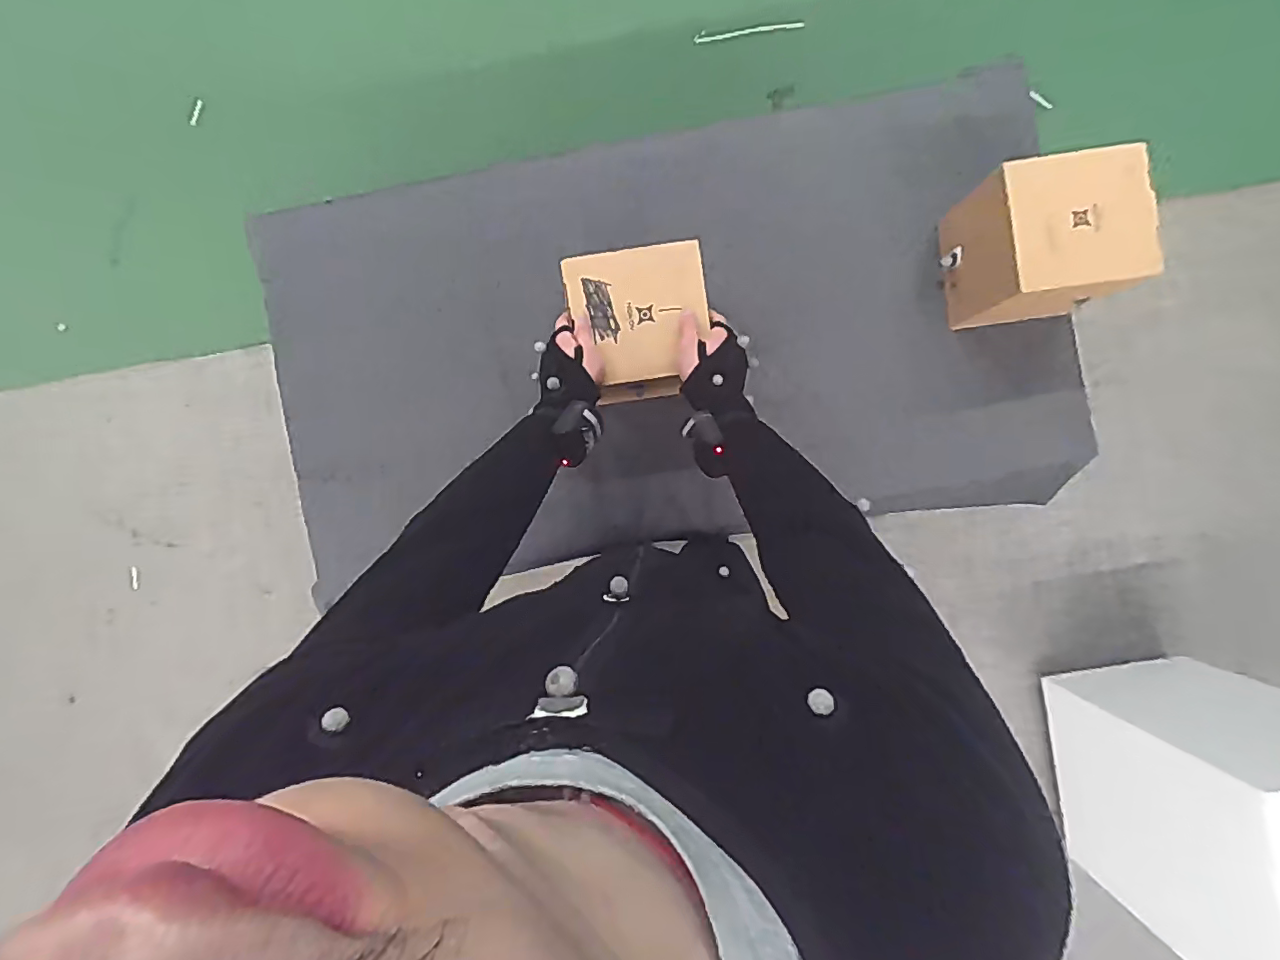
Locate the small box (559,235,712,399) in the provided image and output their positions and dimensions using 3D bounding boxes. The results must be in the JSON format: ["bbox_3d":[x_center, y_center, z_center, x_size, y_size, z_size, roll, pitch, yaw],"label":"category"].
[{"bbox_3d":[-0.004,-0.211,0.745,0.179,0.176,0.168,-7,91,0],"label":"small box"}]

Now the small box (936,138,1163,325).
[{"bbox_3d":[0.538,-0.322,0.733,0.179,0.176,0.168,-8,90,3],"label":"small box"}]
